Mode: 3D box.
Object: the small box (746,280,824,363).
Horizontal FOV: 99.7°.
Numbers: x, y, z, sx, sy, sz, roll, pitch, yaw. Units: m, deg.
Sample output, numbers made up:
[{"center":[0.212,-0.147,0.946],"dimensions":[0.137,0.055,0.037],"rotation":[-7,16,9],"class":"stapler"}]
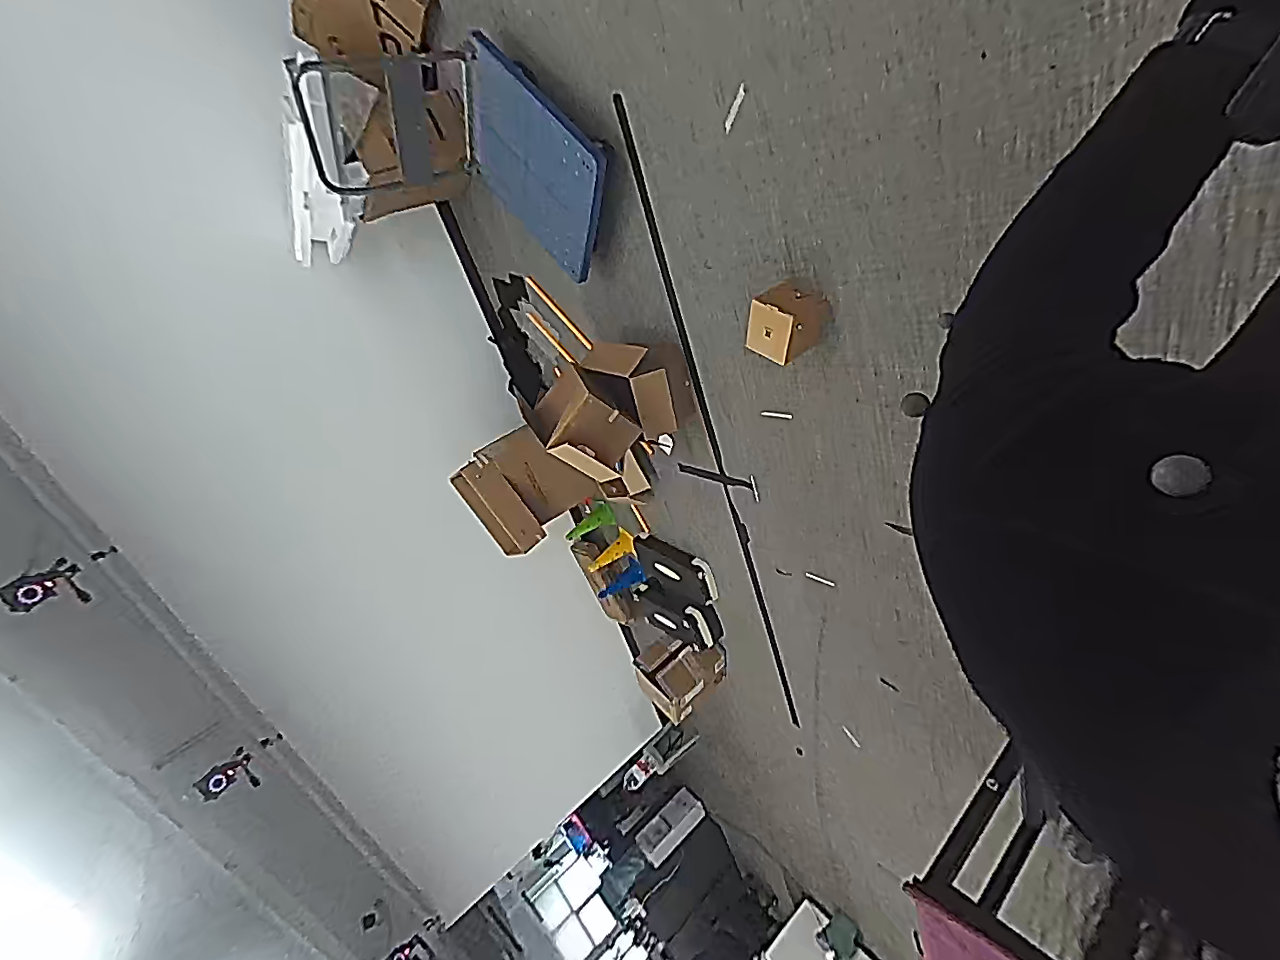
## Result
[{"center":[0.466,-0.513,1.740],"dimensions":[0.168,0.176,0.179],"rotation":[39,148,33],"class":"small box"}]
